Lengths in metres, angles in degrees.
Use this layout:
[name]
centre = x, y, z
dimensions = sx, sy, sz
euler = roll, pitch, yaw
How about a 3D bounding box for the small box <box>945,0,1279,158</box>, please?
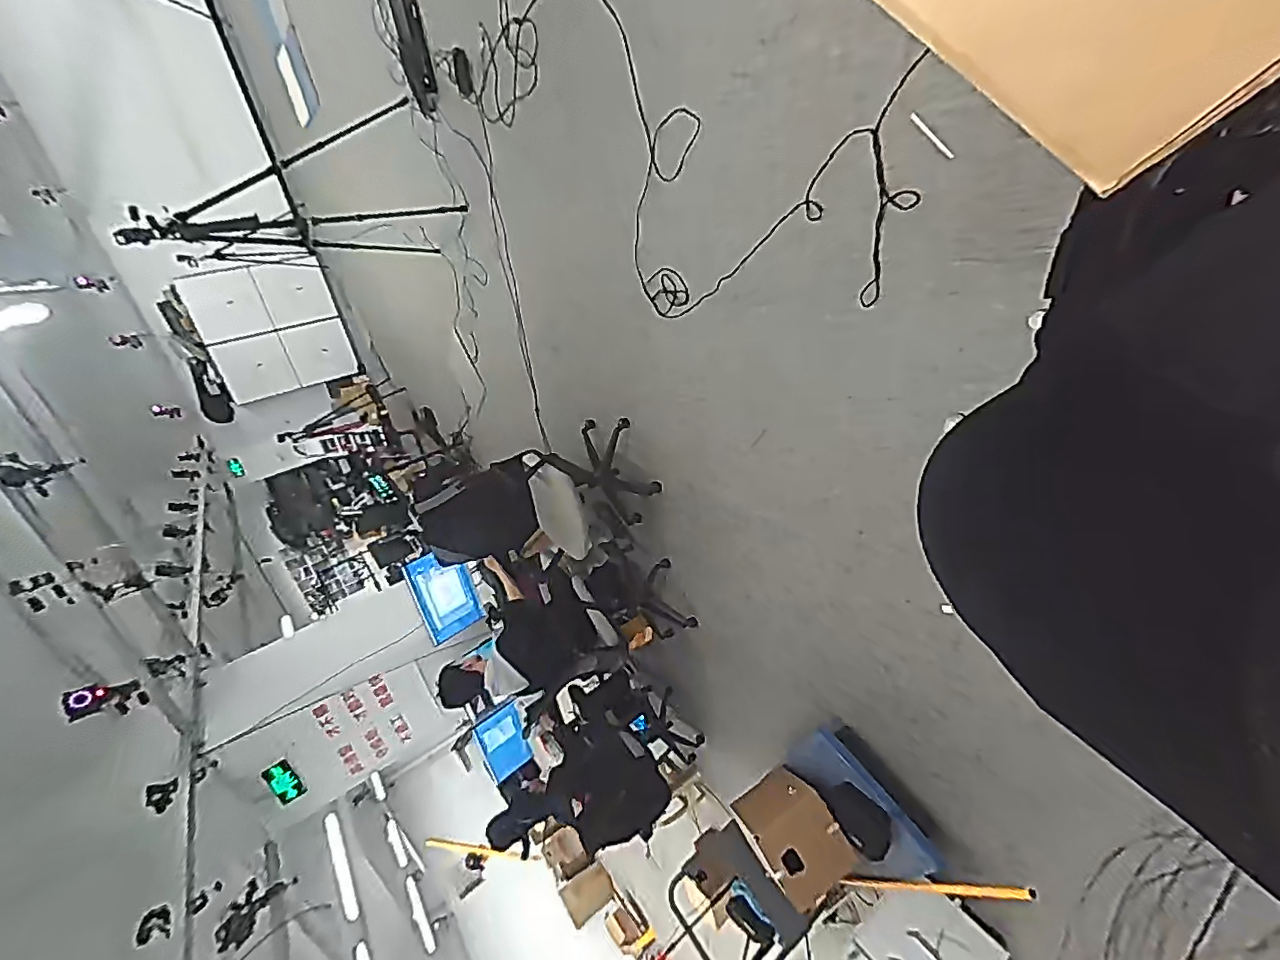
[small box]
centre = 0.209, -0.266, 0.176
dimensions = 0.176, 0.168, 0.179
euler = 42, 163, 2
